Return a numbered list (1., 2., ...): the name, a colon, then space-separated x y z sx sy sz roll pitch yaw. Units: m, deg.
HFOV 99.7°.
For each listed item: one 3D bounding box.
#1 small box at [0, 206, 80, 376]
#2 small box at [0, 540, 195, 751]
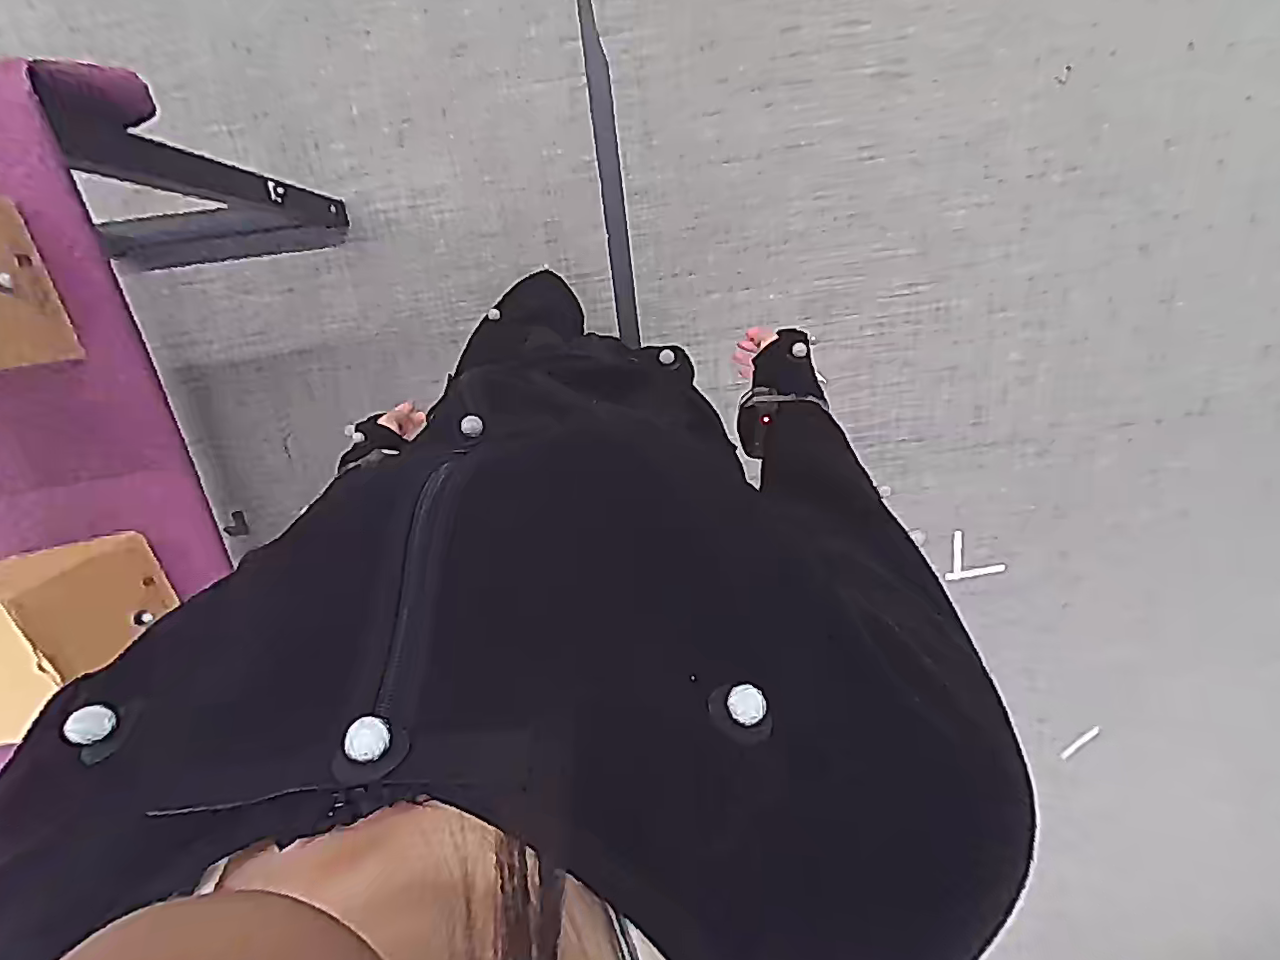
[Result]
1. small box: -0.718 -0.172 0.511 0.179 0.176 0.168 -8 110 1
2. small box: -0.694 0.189 0.636 0.179 0.176 0.168 -12 109 1
